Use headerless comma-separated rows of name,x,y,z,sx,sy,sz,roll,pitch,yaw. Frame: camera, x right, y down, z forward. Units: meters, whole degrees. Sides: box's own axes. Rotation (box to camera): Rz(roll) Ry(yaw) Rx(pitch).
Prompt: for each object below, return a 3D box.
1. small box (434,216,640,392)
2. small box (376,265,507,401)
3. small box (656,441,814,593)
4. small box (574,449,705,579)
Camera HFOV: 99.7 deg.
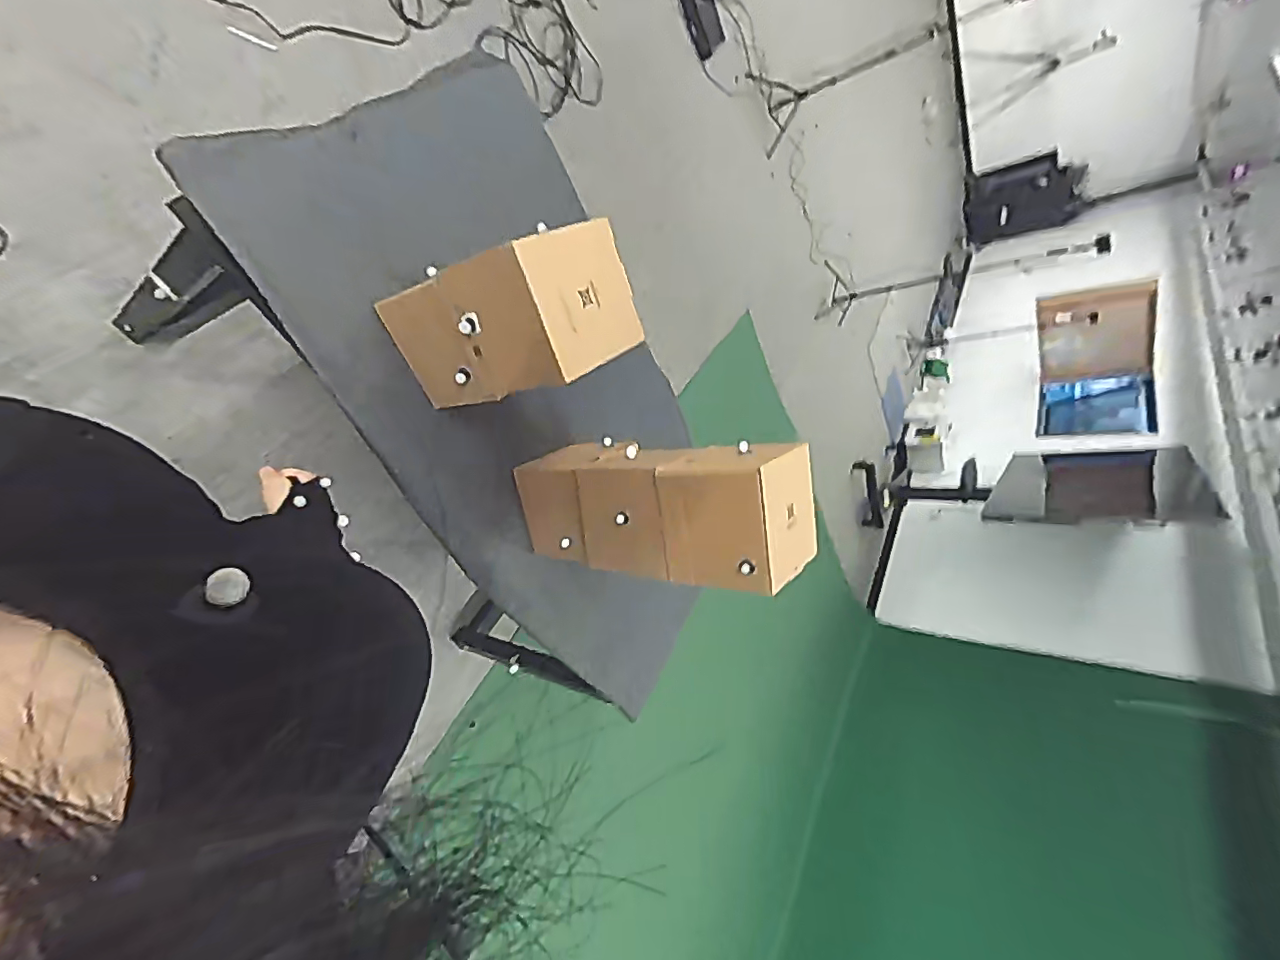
small box,-0.133,-0.228,0.717,0.179,0.176,0.168,-41,120,-41
small box,-0.256,-0.230,0.823,0.168,0.176,0.179,-48,125,-40
small box,0.137,0.045,0.788,0.168,0.176,0.179,-22,108,-49
small box,0.012,0.046,0.892,0.168,0.176,0.179,-18,104,-50
